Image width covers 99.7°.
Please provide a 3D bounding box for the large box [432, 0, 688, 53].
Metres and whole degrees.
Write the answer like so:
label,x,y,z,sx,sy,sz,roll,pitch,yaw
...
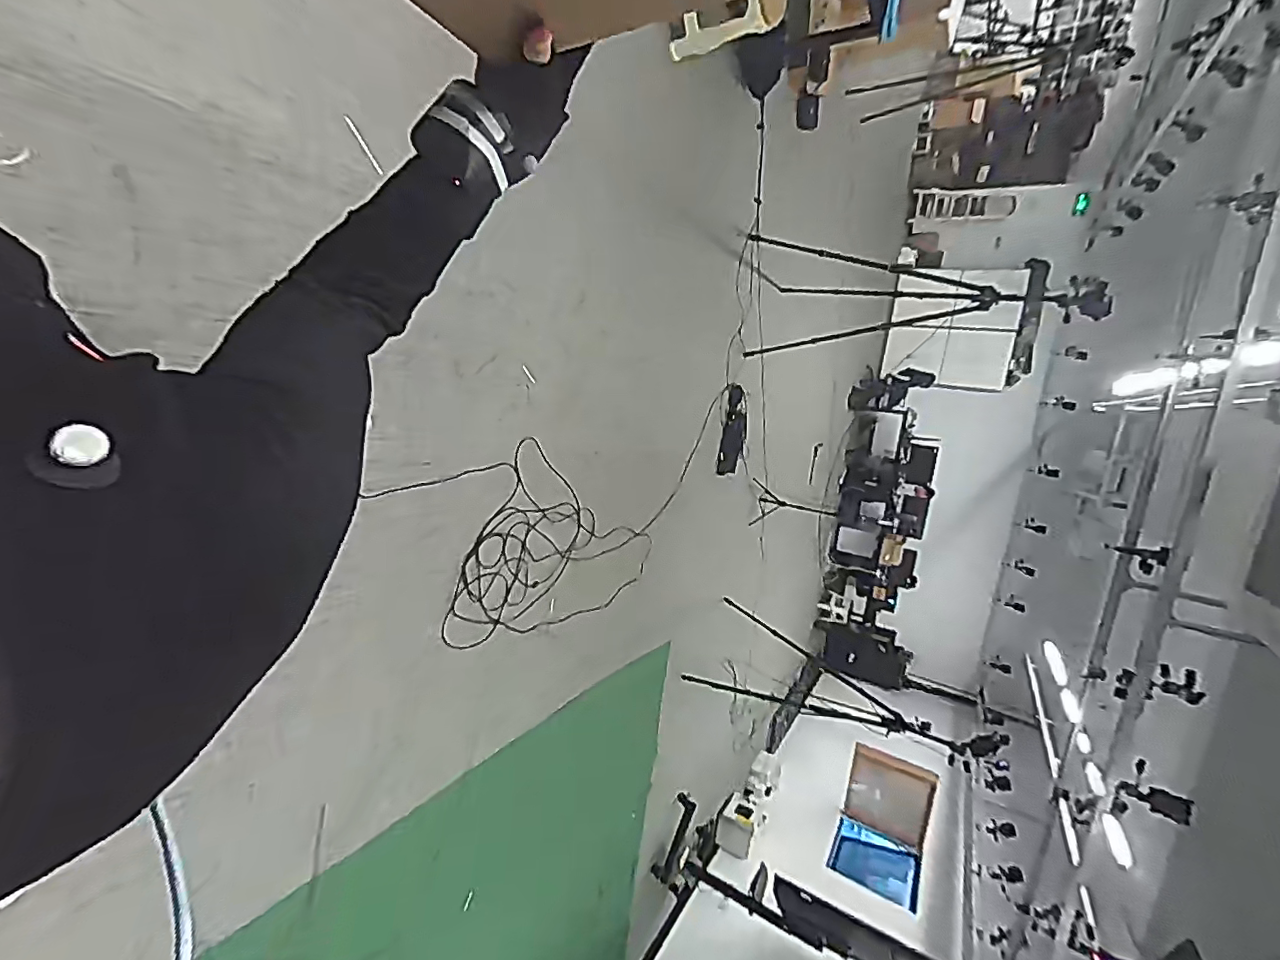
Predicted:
label,x,y,z,sx,sy,sz,roll,pitch,yaw
large box,-0.059,-0.437,0.169,0.408,0.320,0.320,-23,116,-64
